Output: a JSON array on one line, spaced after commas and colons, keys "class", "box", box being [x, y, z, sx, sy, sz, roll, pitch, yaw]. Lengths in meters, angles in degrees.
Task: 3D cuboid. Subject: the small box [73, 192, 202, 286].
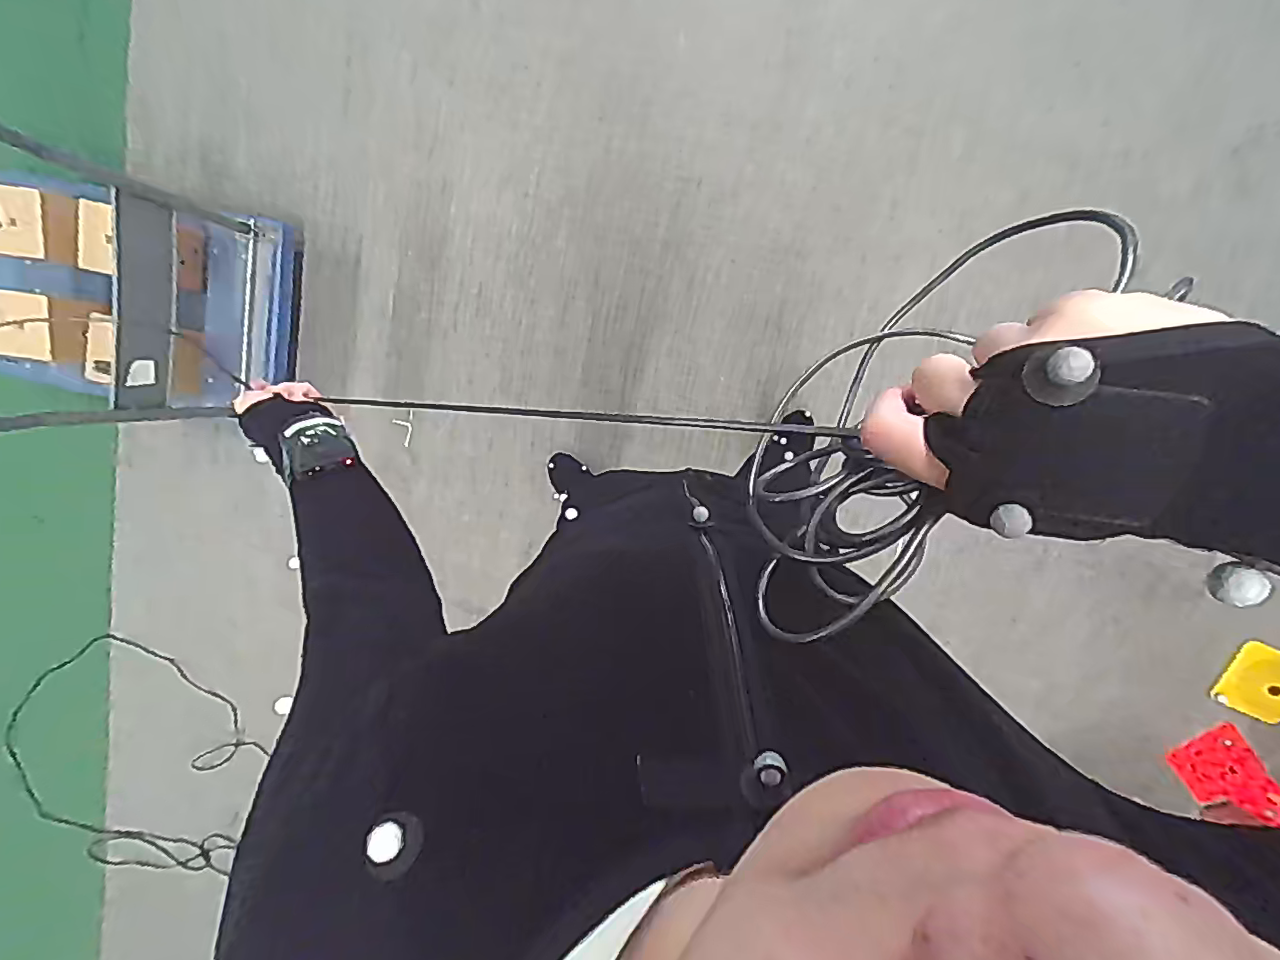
[{"class": "small box", "box": [-1.287, -0.611, 1.392, 0.179, 0.176, 0.168, 13, 100, 2]}]

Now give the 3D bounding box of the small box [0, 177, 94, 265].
[{"class": "small box", "box": [-1.551, -0.669, 1.407, 0.179, 0.176, 0.168, 9, 101, 3]}]

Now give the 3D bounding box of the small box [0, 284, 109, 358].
[{"class": "small box", "box": [-1.583, -0.423, 1.451, 0.179, 0.176, 0.168, 9, 99, 4]}]
